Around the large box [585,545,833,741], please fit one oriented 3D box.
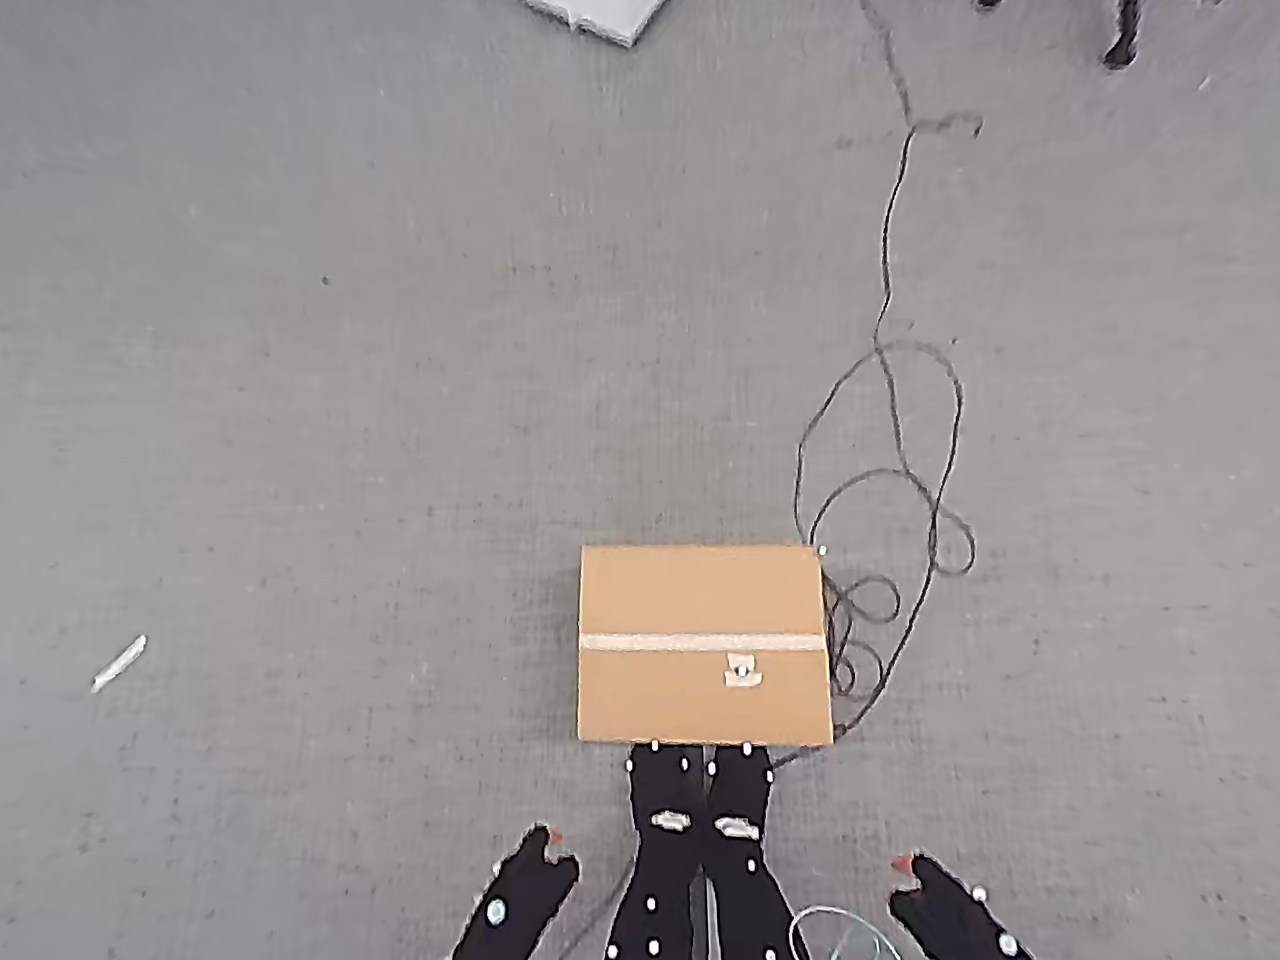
[{"bbox_3d":[0.116,0.300,1.042,0.408,0.320,0.320,-1,78,4],"label":"large box"}]
